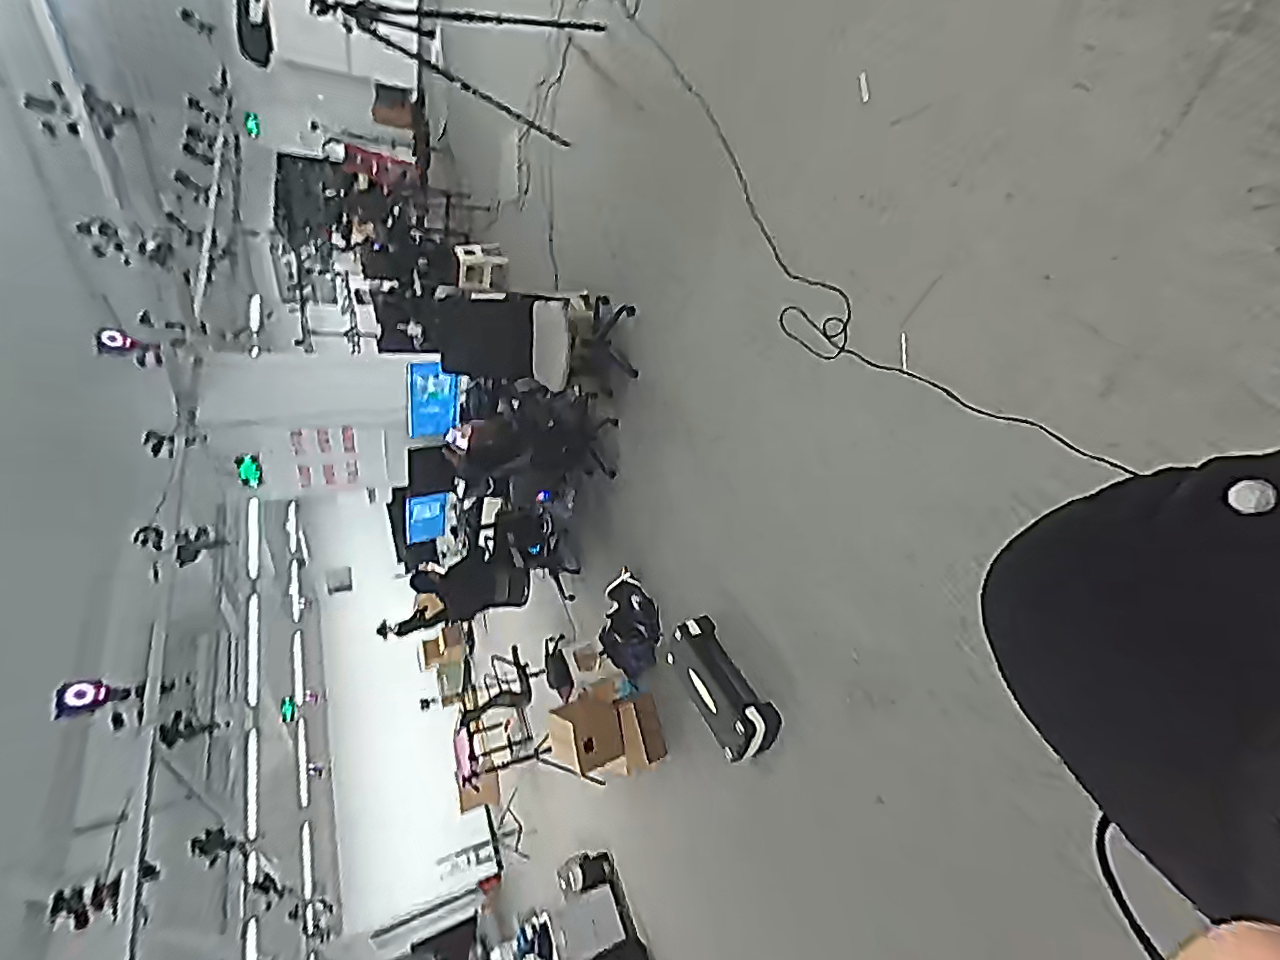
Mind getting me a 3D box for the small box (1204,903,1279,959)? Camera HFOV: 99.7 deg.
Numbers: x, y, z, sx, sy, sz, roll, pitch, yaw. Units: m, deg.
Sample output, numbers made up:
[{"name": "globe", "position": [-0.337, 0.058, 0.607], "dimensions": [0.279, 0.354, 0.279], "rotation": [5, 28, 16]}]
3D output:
[{"name": "small box", "position": [1.167, 0.868, 0.936], "dimensions": [0.168, 0.176, 0.179], "rotation": [59, 143, 34]}]
